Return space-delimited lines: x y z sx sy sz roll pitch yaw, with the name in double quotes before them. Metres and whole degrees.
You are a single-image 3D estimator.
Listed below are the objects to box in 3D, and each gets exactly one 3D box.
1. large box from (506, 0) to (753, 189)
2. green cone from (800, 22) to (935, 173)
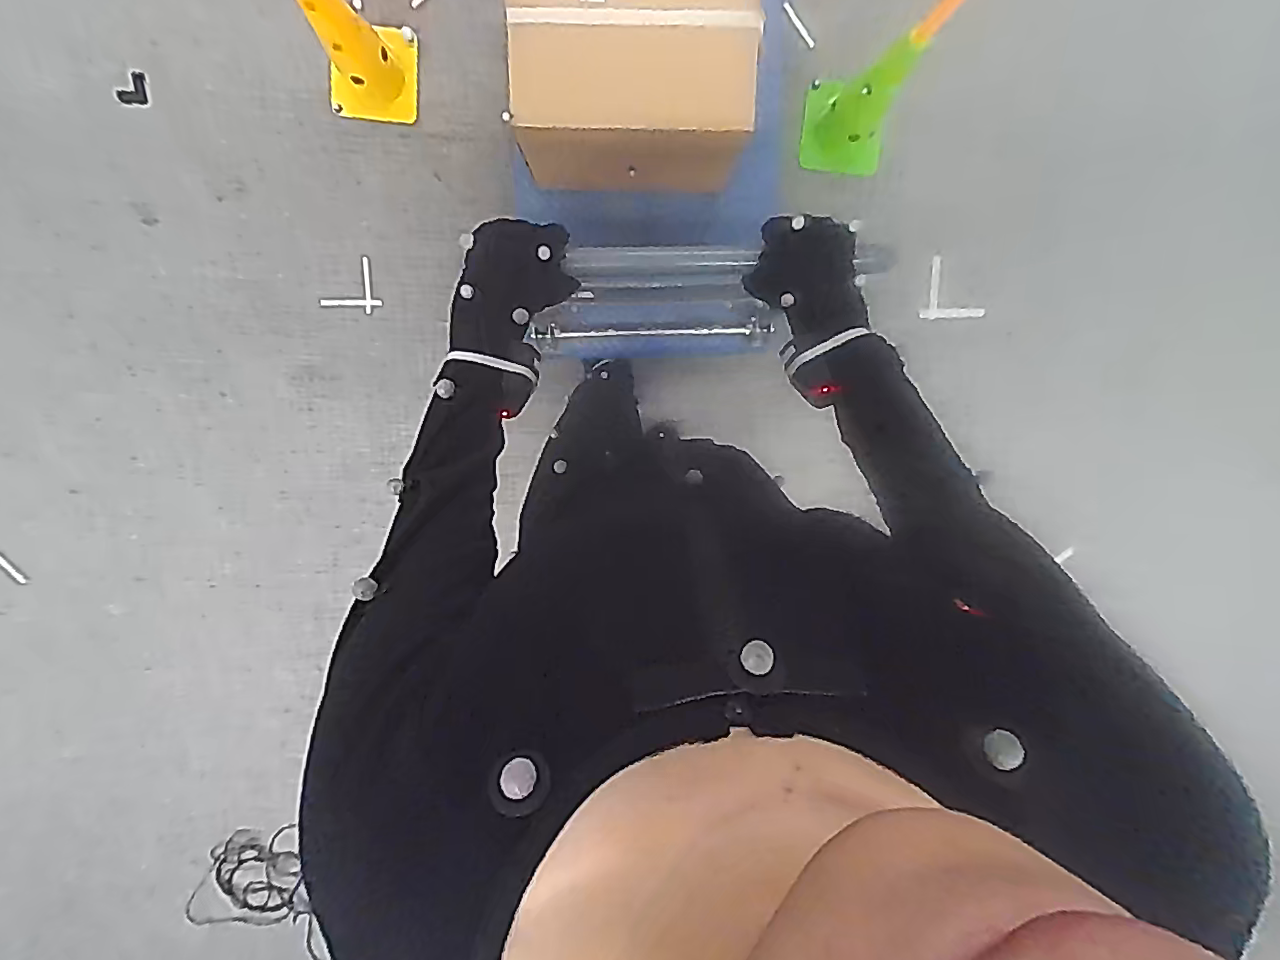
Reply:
"large box" -0.016 -0.760 1.016 0.408 0.320 0.320 0 100 -1
"green cone" 0.508 -0.843 1.164 0.202 0.368 0.200 5 100 -4
